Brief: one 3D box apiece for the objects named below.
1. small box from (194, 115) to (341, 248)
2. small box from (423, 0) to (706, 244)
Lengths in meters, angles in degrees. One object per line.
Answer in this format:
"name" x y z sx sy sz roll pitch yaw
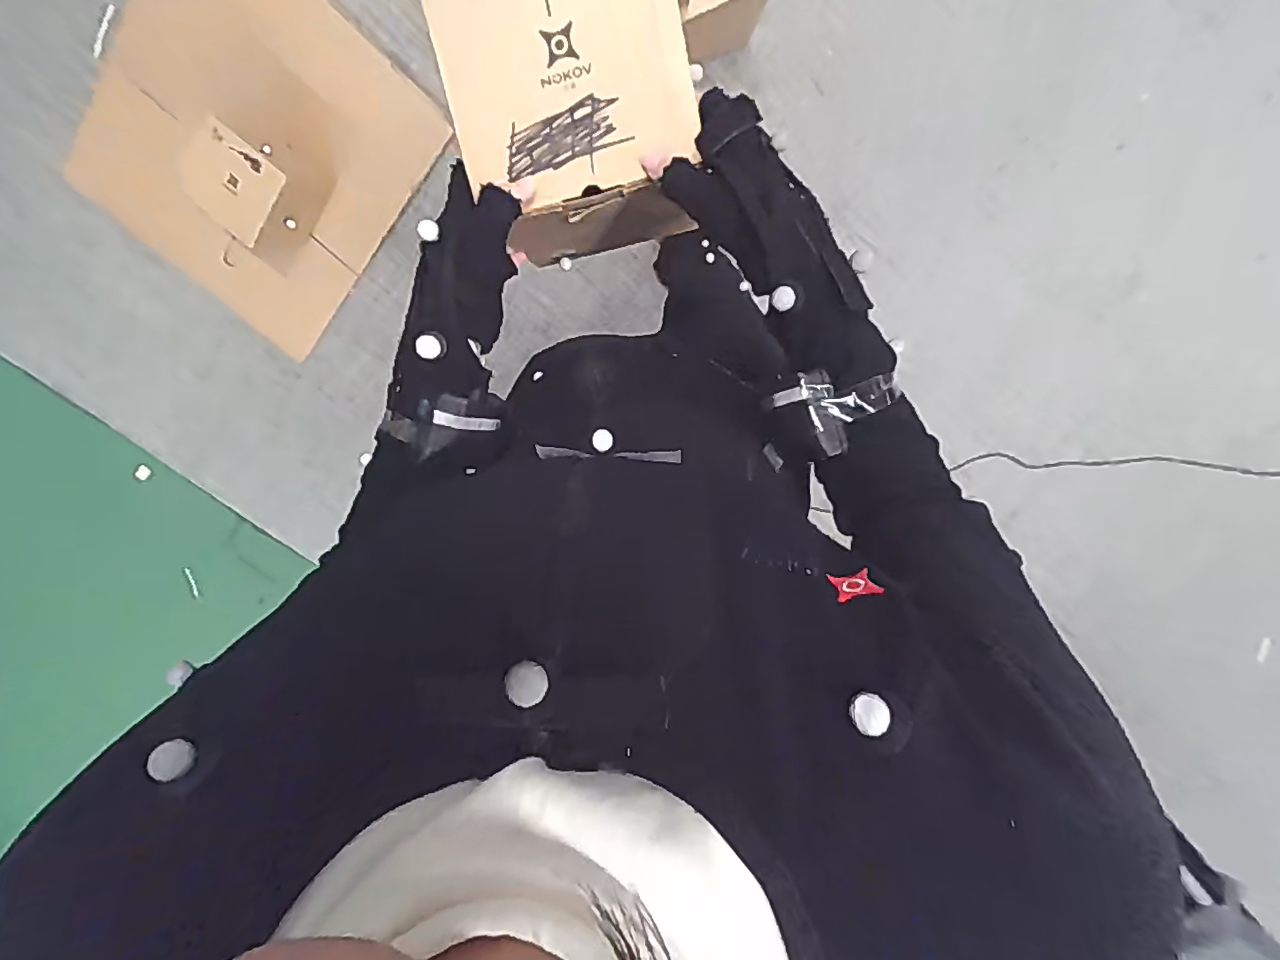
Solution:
"small box" -0.775 -0.617 1.141 0.168 0.176 0.179 37 113 -10
"small box" -0.046 -0.309 0.441 0.168 0.176 0.179 -15 101 8
